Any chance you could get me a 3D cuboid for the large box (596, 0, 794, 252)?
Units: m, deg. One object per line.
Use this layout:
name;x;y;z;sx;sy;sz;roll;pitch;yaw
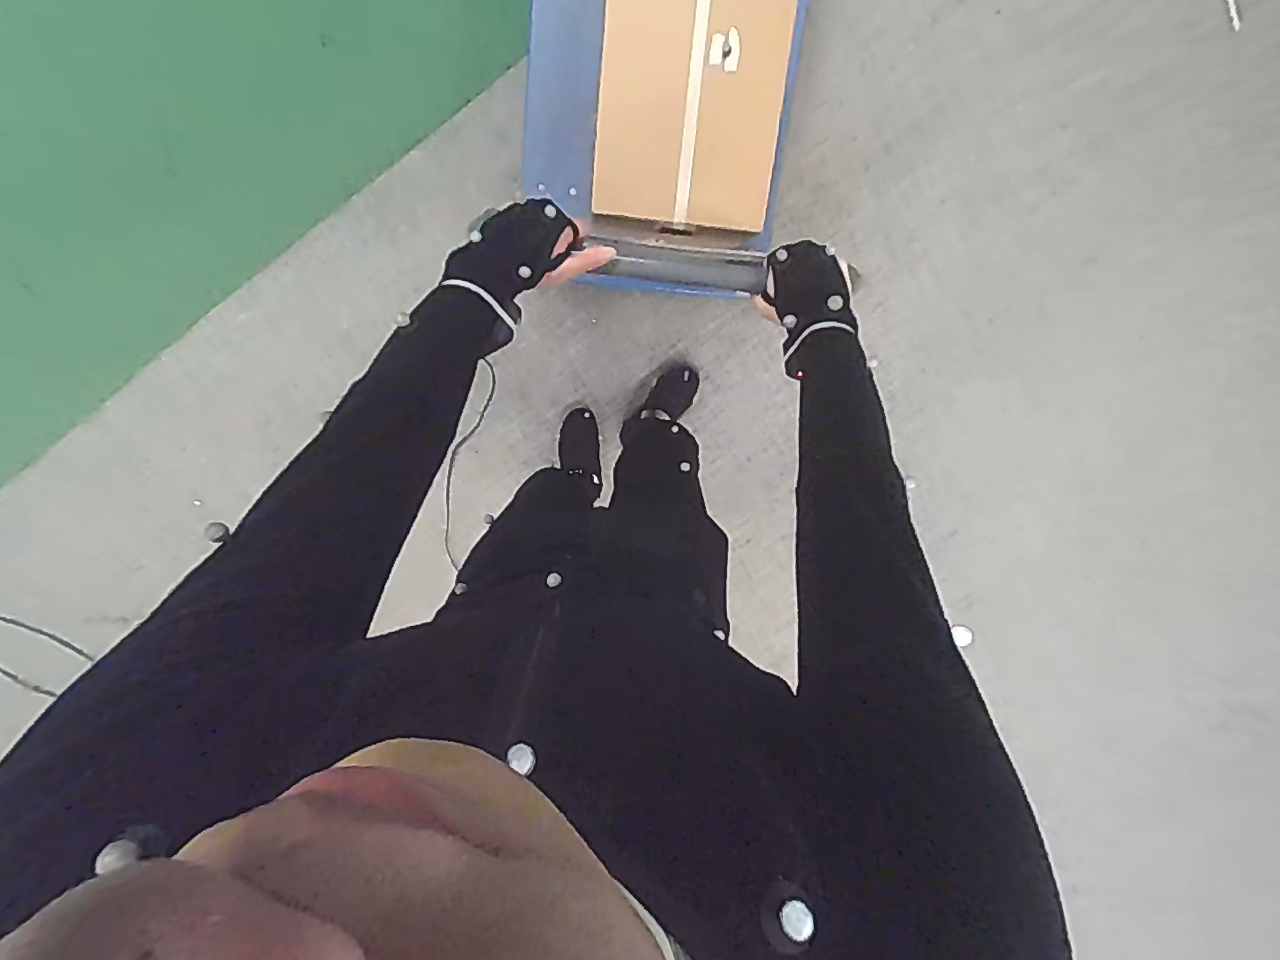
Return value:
large box;0.085;-0.697;1.077;0.320;0.320;0.408;5;106;-5
